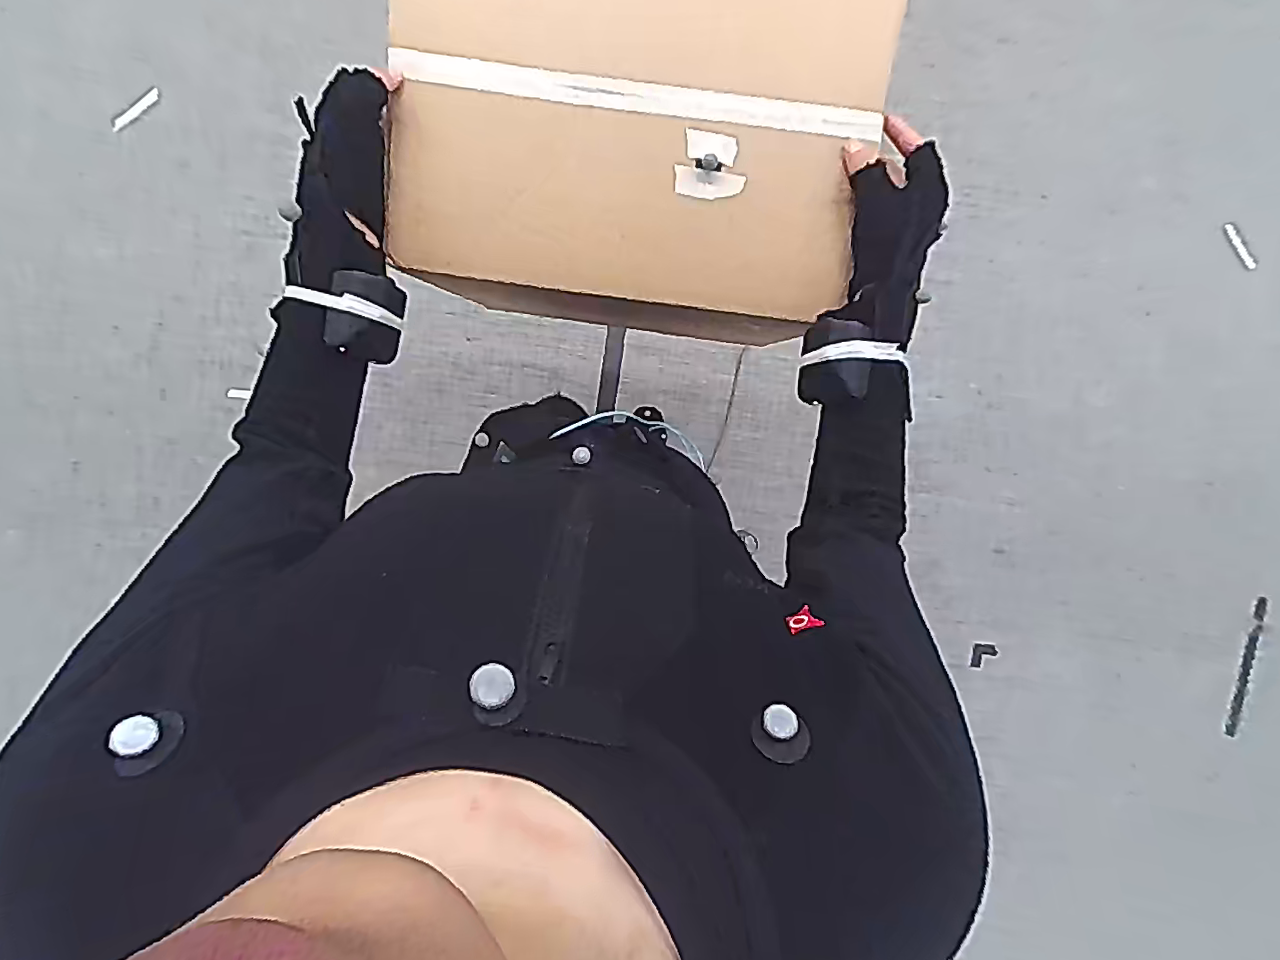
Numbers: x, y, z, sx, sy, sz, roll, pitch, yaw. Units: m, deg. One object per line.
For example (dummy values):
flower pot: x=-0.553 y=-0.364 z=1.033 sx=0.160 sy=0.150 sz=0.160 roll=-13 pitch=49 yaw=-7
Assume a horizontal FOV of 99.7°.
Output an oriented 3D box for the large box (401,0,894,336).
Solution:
large box: x=-0.001 y=-0.349 z=0.602 sx=0.408 sy=0.320 sz=0.320 roll=7 pitch=102 yaw=-1
